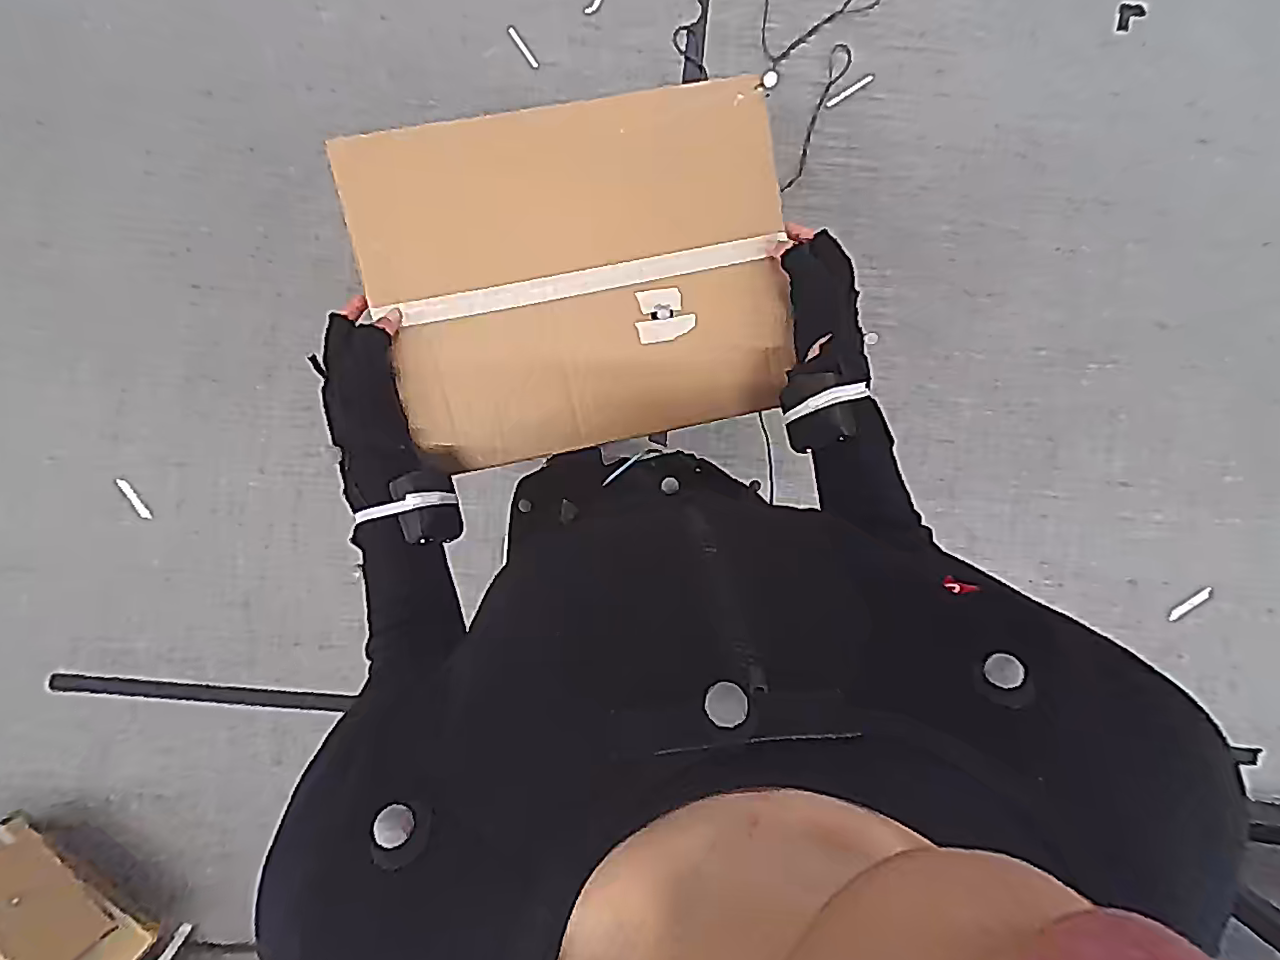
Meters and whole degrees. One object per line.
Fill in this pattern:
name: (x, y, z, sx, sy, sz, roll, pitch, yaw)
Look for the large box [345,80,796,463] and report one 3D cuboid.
large box: (-0.071, -0.225, 0.682, 0.408, 0.320, 0.320, -11, 101, -5)
